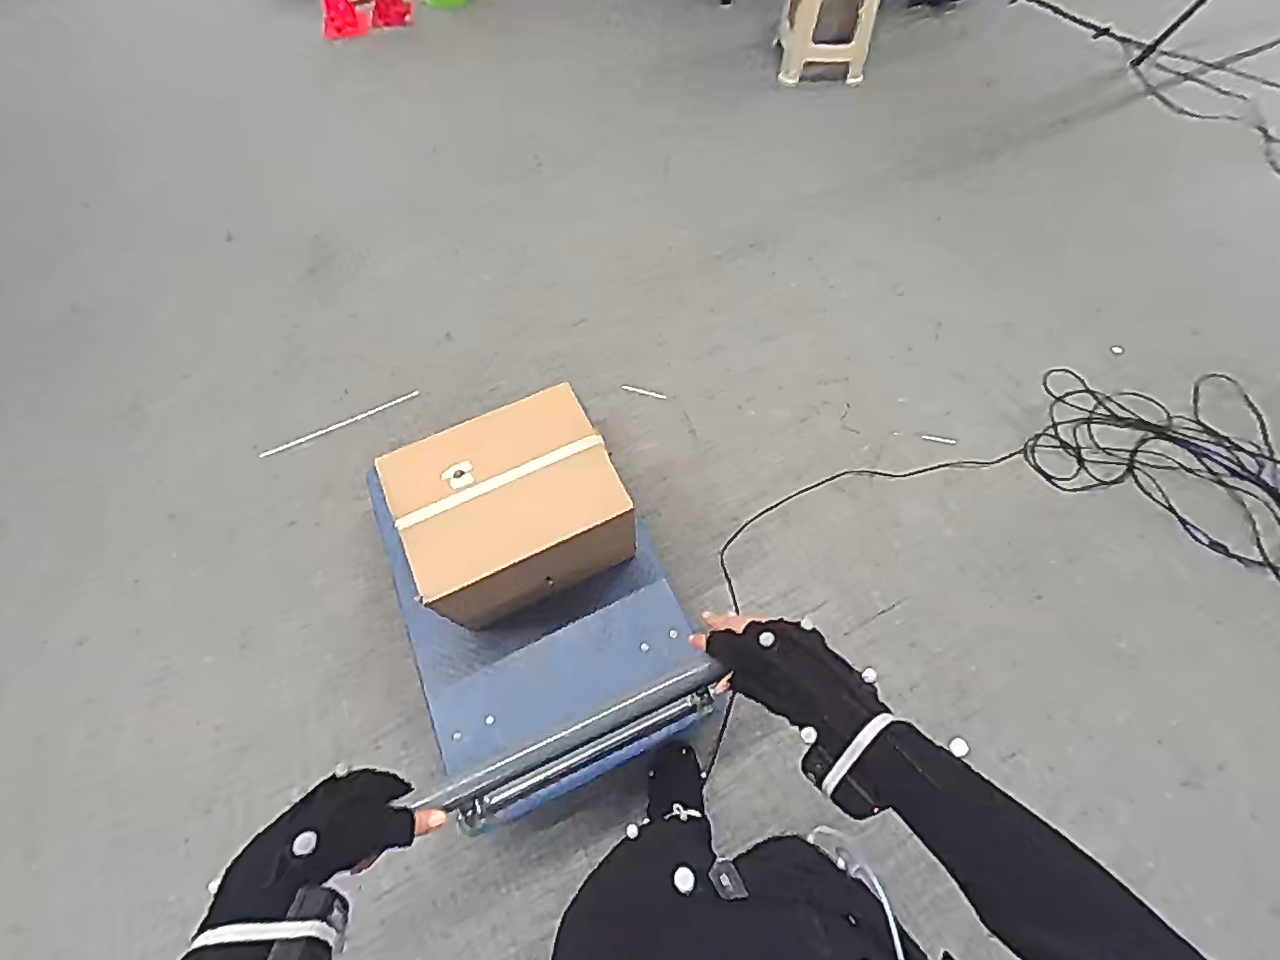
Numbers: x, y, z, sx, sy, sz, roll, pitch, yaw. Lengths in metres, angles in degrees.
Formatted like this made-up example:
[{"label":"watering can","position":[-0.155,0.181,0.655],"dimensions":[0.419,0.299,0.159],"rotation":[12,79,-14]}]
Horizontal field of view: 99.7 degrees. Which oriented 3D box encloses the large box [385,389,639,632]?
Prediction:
[{"label":"large box","position":[-0.245,0.077,1.156],"dimensions":[0.408,0.320,0.320],"rotation":[-26,68,-10]}]
